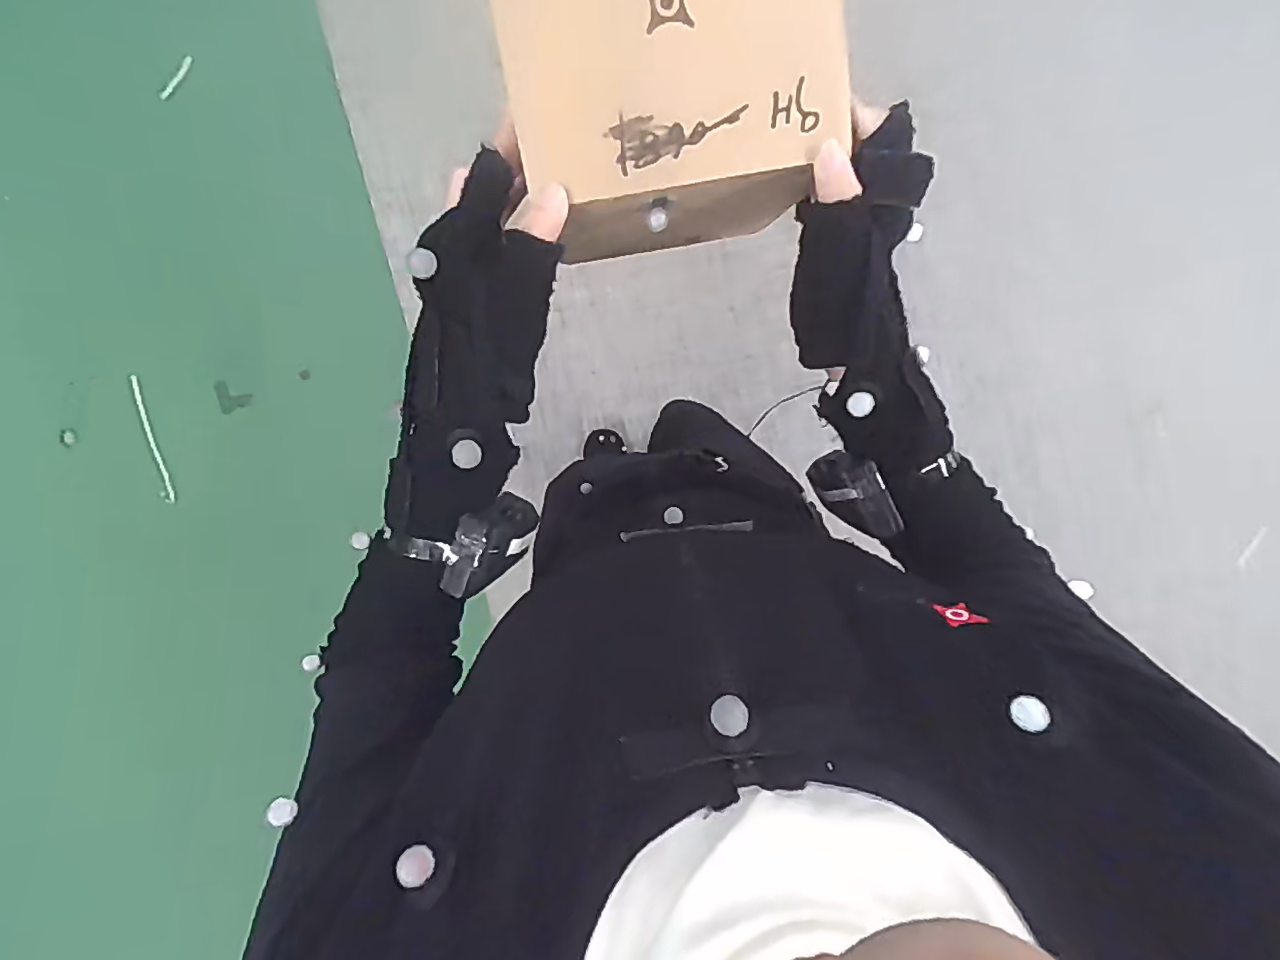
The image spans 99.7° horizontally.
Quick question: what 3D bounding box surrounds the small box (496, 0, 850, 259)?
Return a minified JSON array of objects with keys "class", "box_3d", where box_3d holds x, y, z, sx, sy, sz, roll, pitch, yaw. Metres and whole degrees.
[{"class":"small box","box_3d":[0.008,-0.252,0.330,0.168,0.176,0.179,-10,103,0]}]
